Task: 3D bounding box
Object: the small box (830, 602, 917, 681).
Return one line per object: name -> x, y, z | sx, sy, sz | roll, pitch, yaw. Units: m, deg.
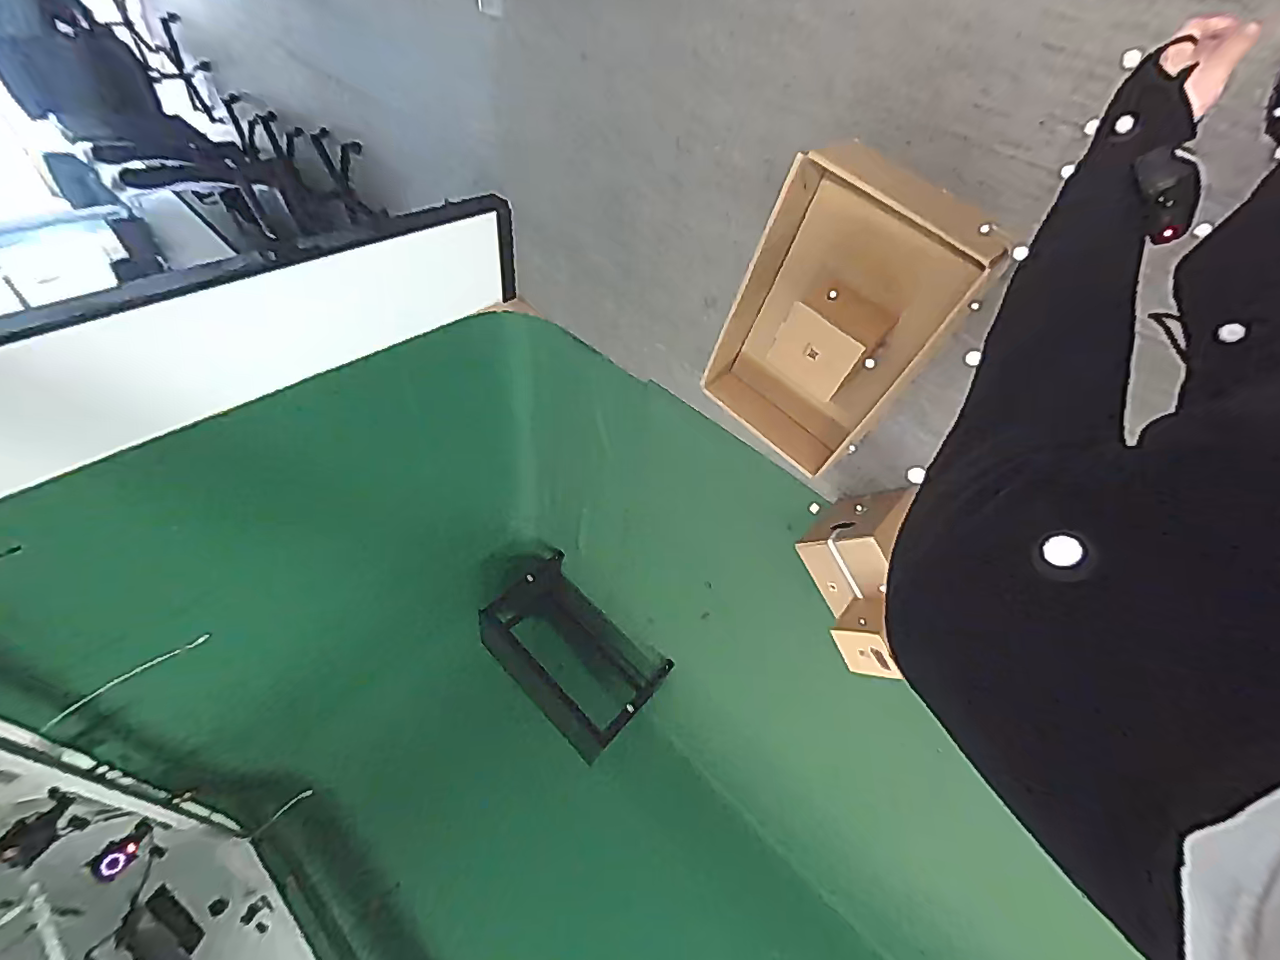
small box -> 0.733, 0.494, 1.679 | 0.179, 0.176, 0.168 | -15, 107, 54
